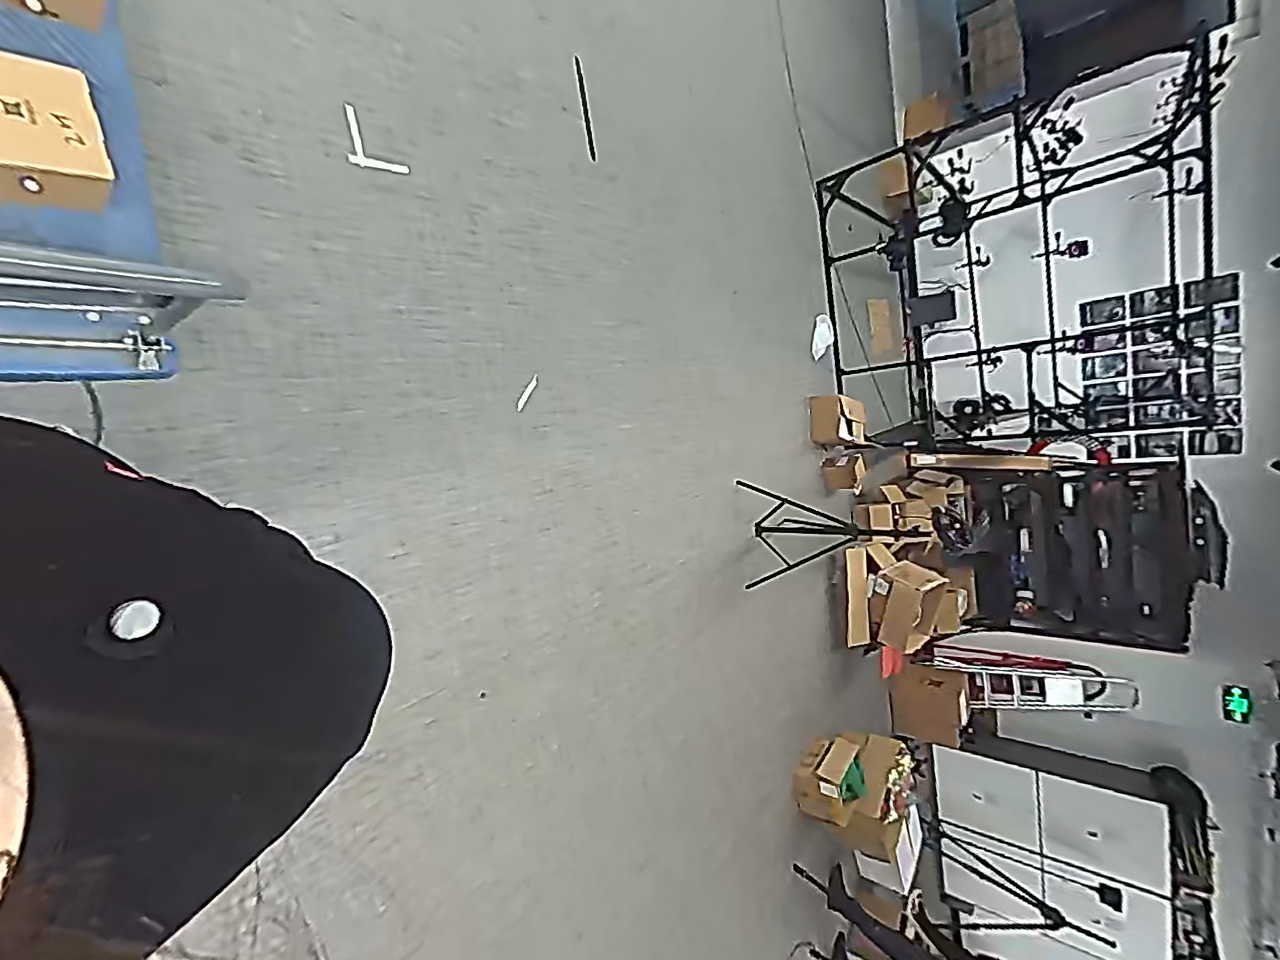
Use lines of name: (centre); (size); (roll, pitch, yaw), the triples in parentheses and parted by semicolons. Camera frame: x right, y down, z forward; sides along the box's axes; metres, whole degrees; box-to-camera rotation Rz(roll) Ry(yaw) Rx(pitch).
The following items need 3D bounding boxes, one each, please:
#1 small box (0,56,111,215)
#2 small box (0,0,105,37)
small box: (-0.995, -0.545, 0.866); (0.179, 0.176, 0.168); (-19, 103, -48)
small box: (-1.002, -0.883, 0.873); (0.168, 0.176, 0.179); (-16, 101, -48)
